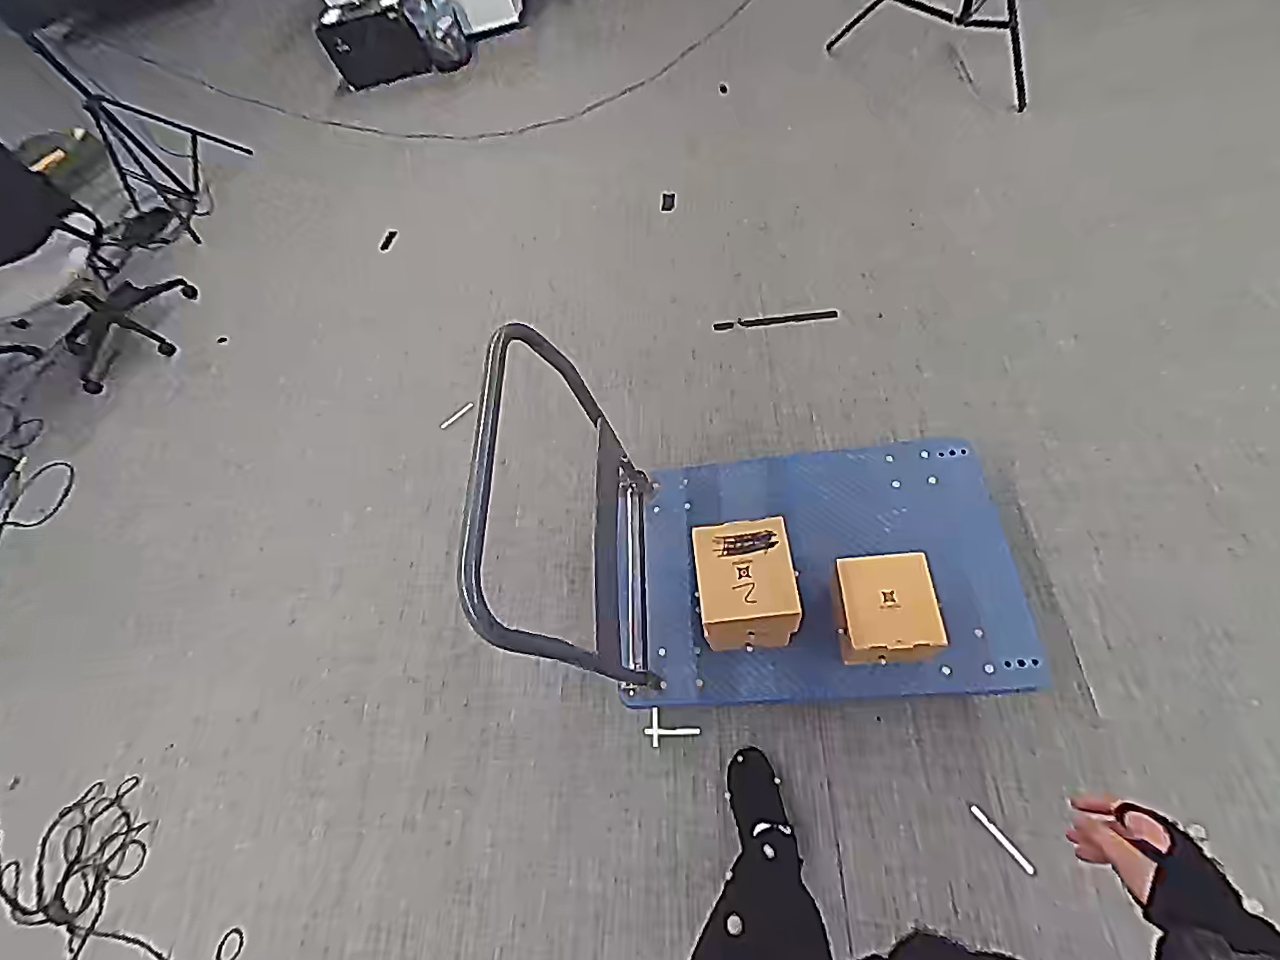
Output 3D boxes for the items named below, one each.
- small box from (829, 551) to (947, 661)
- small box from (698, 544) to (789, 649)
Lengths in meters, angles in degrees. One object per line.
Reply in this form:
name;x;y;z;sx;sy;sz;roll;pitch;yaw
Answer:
small box;0.483;0.257;1.085;0.168;0.176;0.179;-7;63;10
small box;0.218;0.252;1.151;0.168;0.176;0.179;-8;63;10
